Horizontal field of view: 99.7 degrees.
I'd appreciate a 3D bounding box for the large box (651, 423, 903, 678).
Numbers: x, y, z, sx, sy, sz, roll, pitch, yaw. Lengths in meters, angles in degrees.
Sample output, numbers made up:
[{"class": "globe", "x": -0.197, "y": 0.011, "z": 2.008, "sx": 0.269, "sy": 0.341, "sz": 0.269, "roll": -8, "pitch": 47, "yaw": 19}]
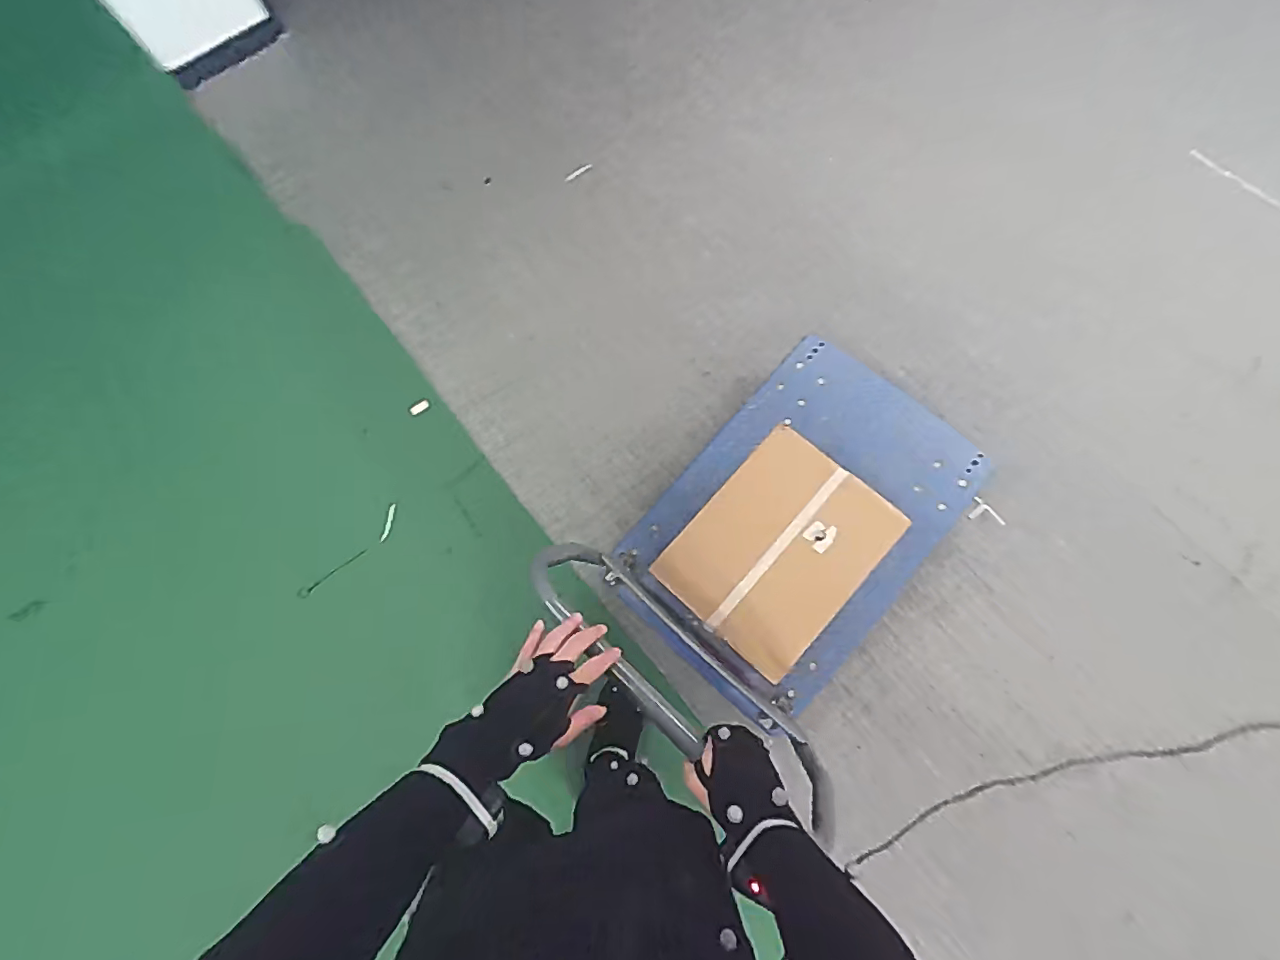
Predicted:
[{"class": "large box", "x": 0.274, "y": 0.162, "z": 1.175, "sx": 0.320, "sy": 0.320, "sz": 0.408, "roll": 41, "pitch": 82, "yaw": 14}]
